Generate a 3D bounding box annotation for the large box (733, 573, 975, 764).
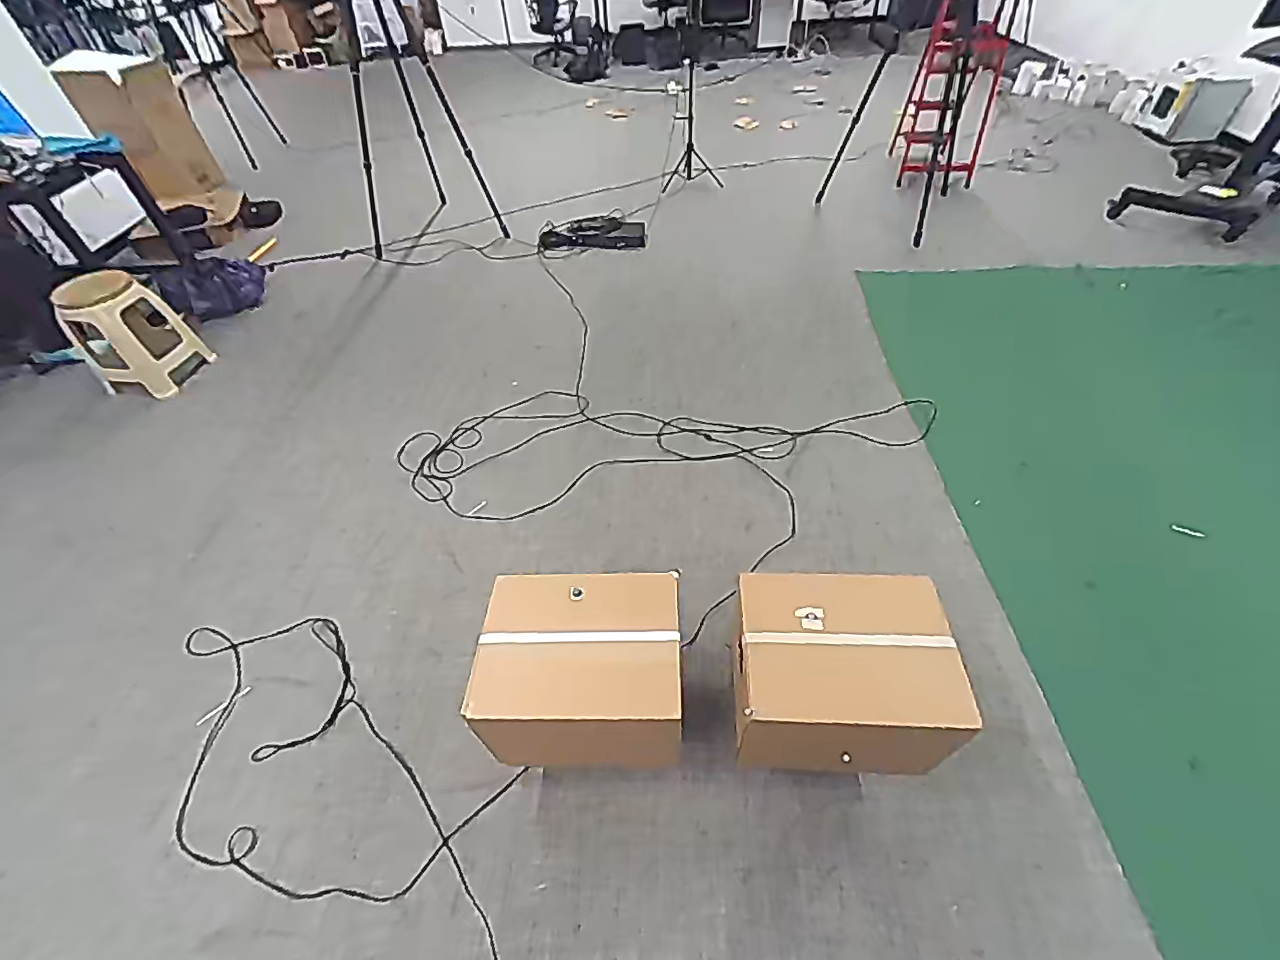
[{"bbox_3d":[0.421,0.416,1.186,0.408,0.320,0.320,0,48,5],"label":"large box"}]
